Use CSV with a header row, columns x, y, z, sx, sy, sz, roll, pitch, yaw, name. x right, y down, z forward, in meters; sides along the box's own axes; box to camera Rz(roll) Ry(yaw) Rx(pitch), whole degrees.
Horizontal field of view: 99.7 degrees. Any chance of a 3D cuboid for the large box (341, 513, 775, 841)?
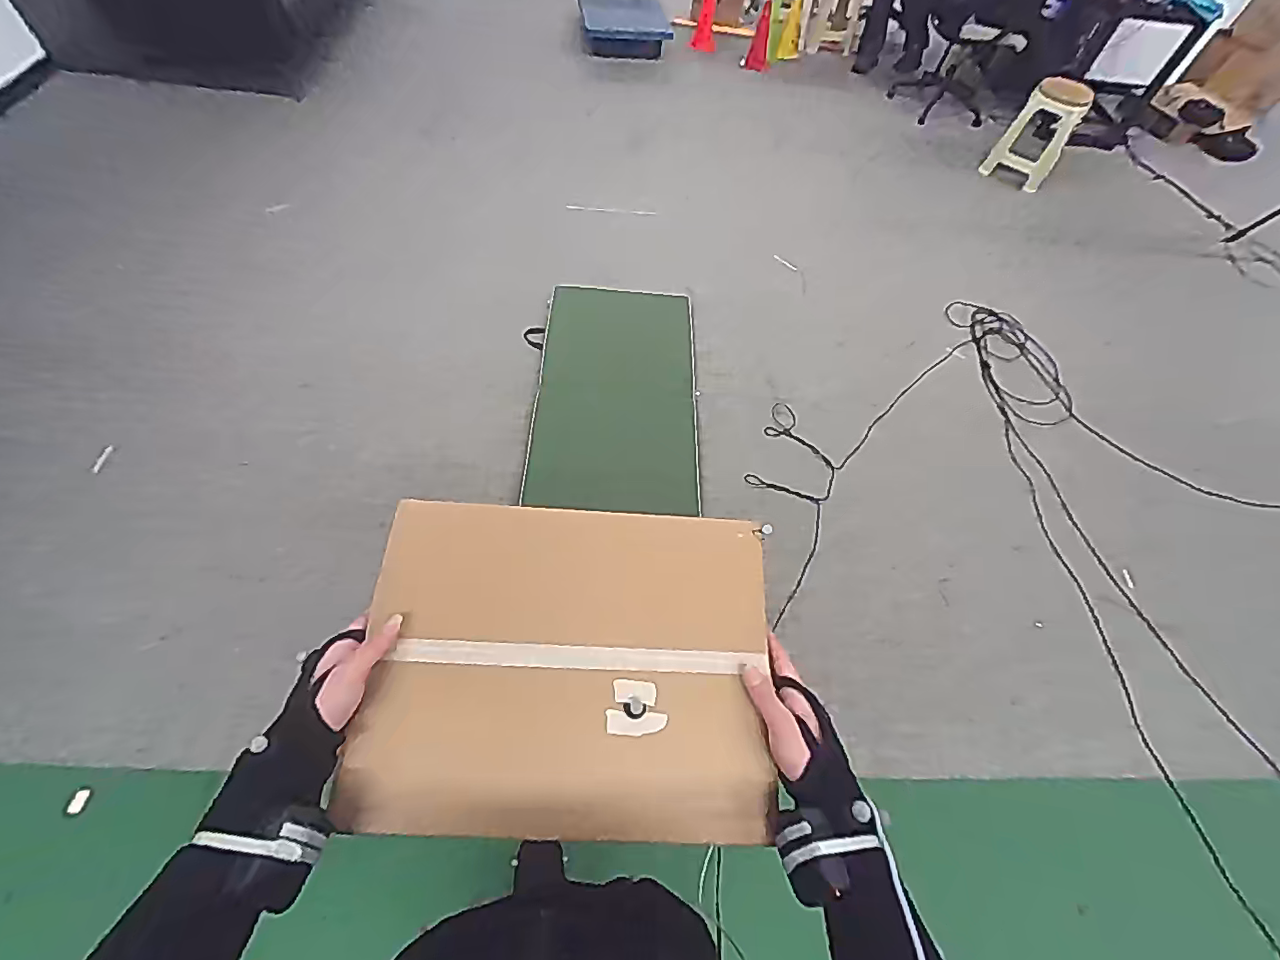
x,y,z,sx,sy,sz,roll,pitch,yaw,name
-0.081,0.250,0.688,0.408,0.320,0.320,4,65,-4,large box
